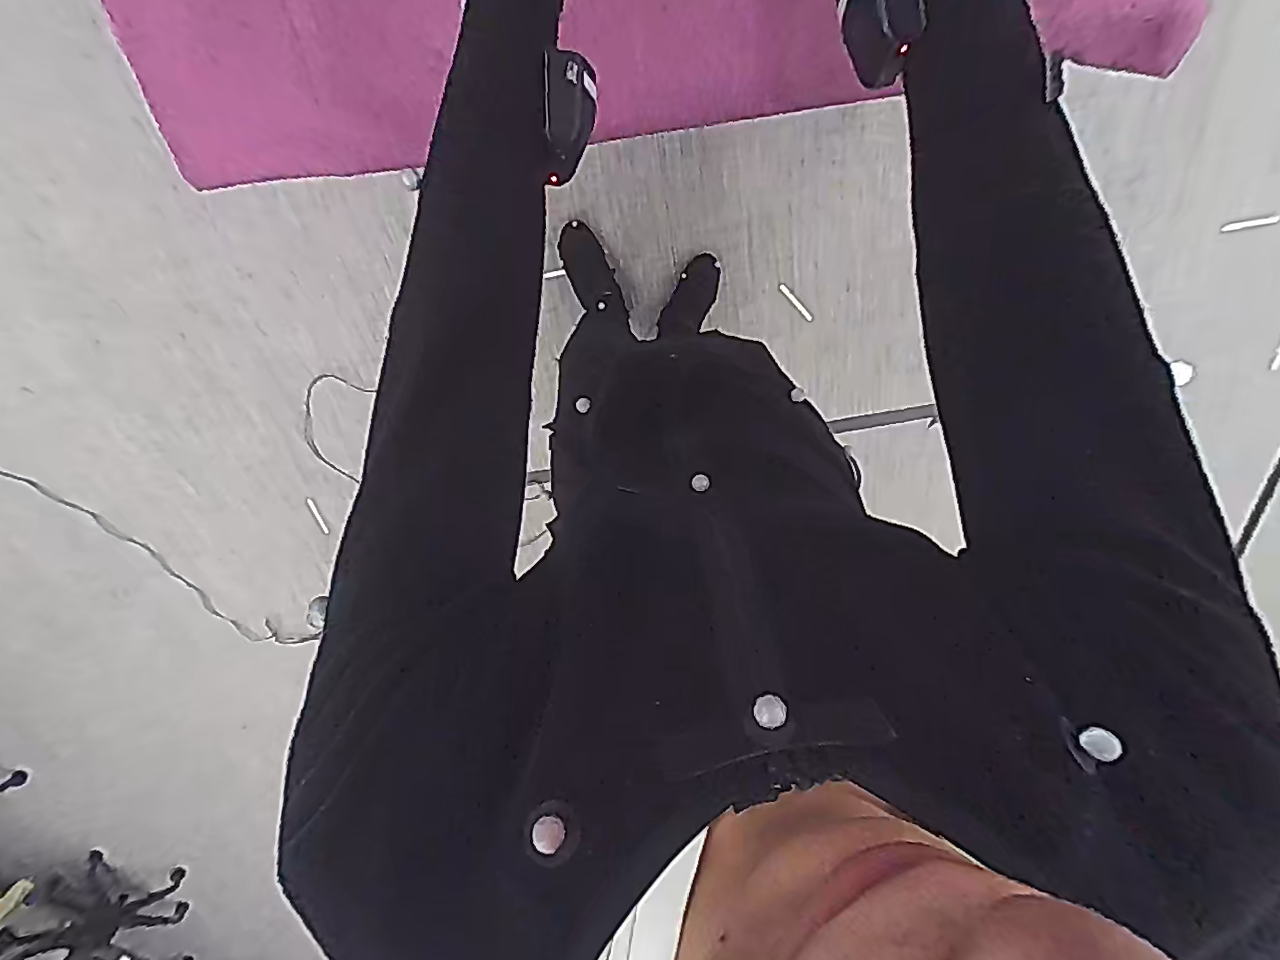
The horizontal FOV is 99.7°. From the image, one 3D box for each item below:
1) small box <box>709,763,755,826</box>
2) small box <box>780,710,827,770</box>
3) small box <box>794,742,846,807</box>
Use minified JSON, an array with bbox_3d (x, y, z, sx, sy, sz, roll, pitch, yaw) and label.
[{"bbox_3d":[0.395,1.359,2.343,0.179,0.176,0.168,-8,121,1],"label":"small box"},{"bbox_3d":[0.752,1.184,2.465,0.168,0.176,0.179,-16,120,4],"label":"small box"},{"bbox_3d":[0.772,1.261,2.322,0.168,0.176,0.179,-15,120,2],"label":"small box"}]
